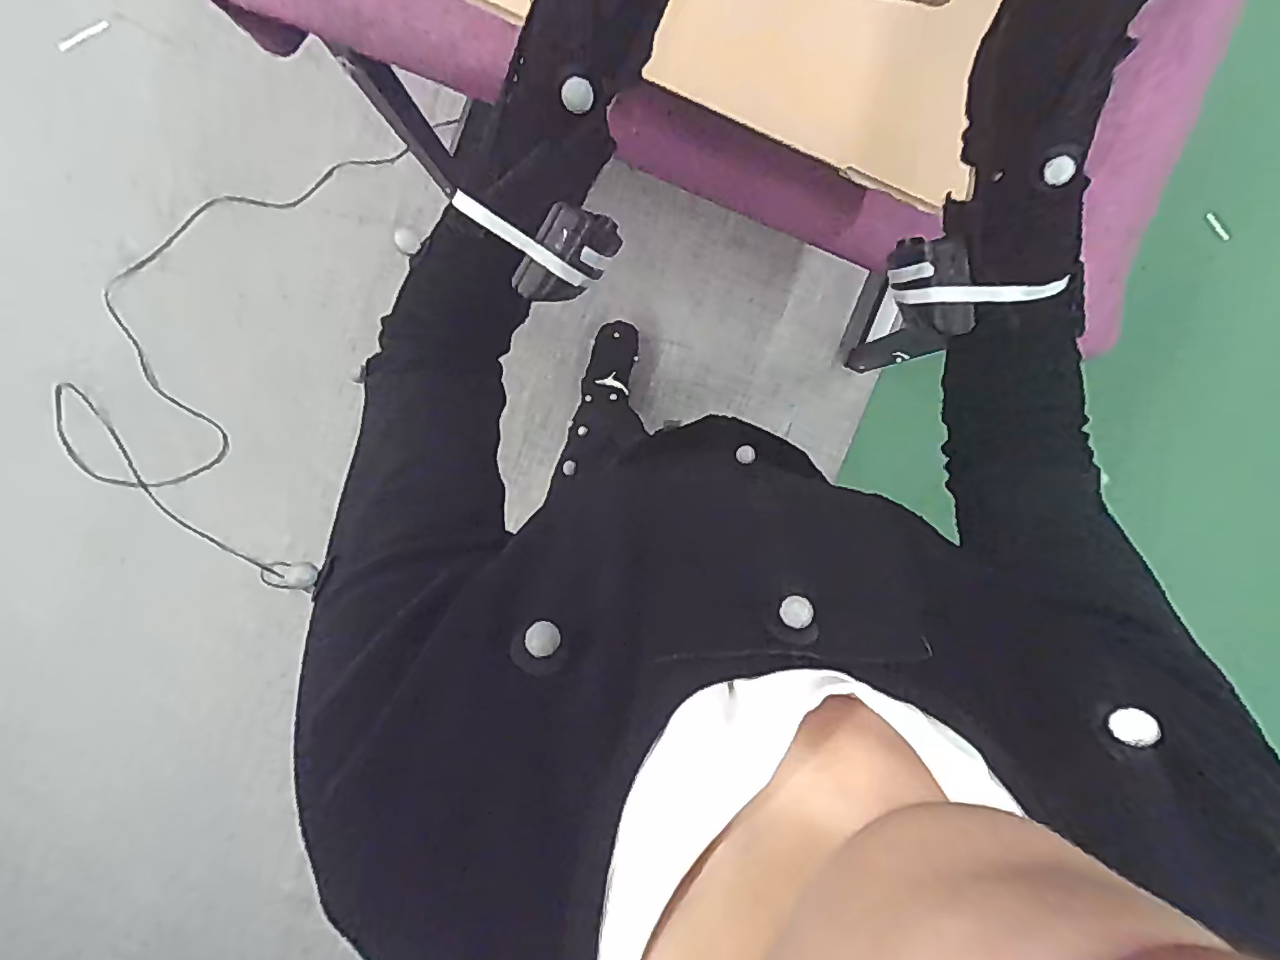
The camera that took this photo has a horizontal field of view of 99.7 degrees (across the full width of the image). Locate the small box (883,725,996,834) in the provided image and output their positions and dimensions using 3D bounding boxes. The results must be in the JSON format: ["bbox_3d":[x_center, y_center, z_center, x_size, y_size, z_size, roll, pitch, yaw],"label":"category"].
[{"bbox_3d":[0.790,0.791,1.450,0.179,0.176,0.168,24,95,-3],"label":"small box"}]
